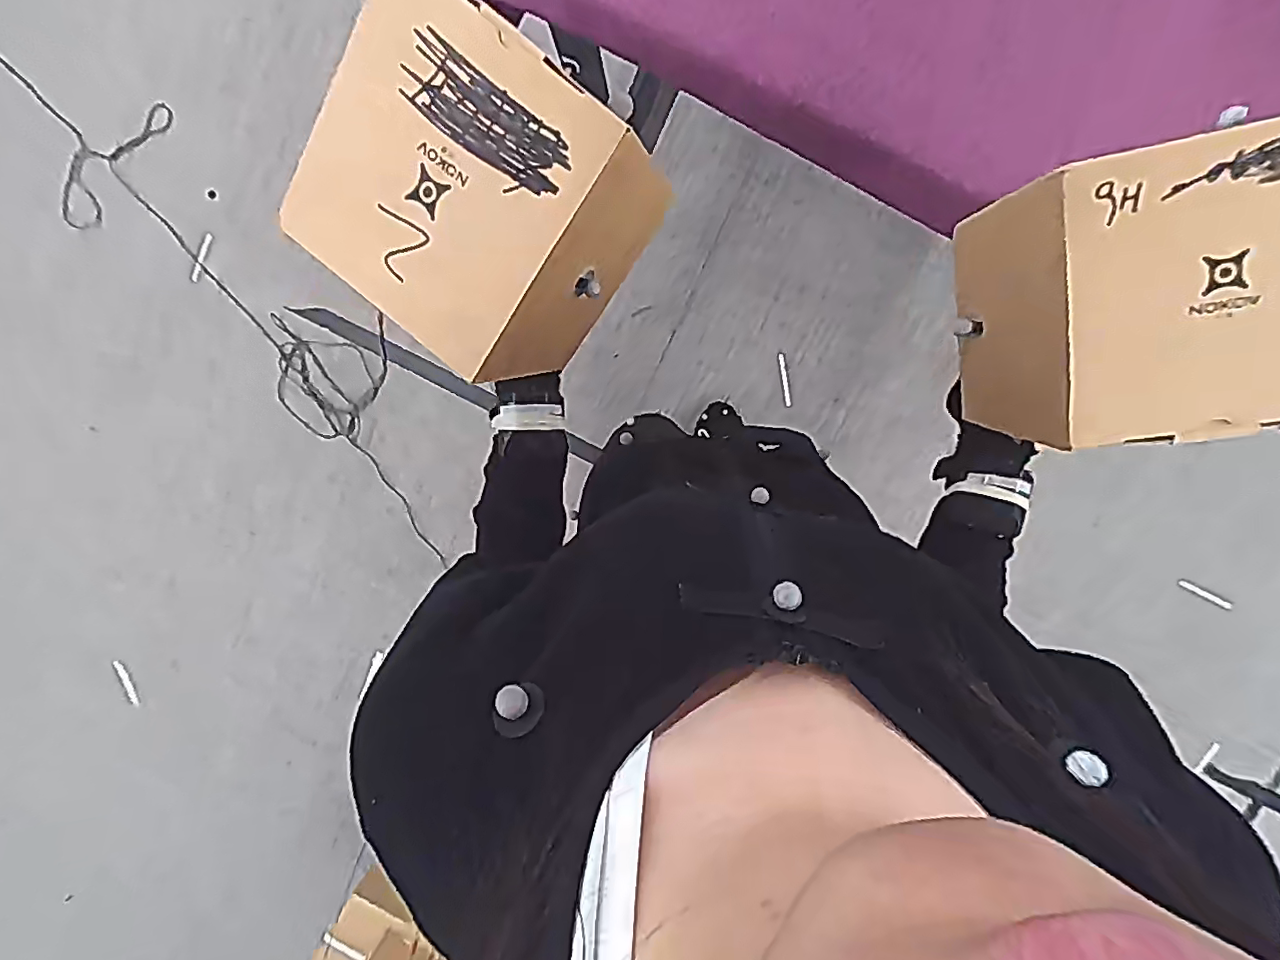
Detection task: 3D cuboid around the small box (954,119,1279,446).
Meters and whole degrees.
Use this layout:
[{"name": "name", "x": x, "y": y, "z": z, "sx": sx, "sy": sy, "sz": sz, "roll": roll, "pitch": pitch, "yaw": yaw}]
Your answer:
[{"name": "small box", "x": 0.355, "y": -0.136, "z": 0.402, "sx": 0.168, "sy": 0.176, "sz": 0.179, "roll": -8, "pitch": 103, "yaw": 10}]

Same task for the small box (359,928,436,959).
[{"name": "small box", "x": -0.634, "y": 1.269, "z": 1.330, "sx": 0.179, "sy": 0.176, "sz": 0.168, "roll": 34, "pitch": 98, "yaw": -1}]
